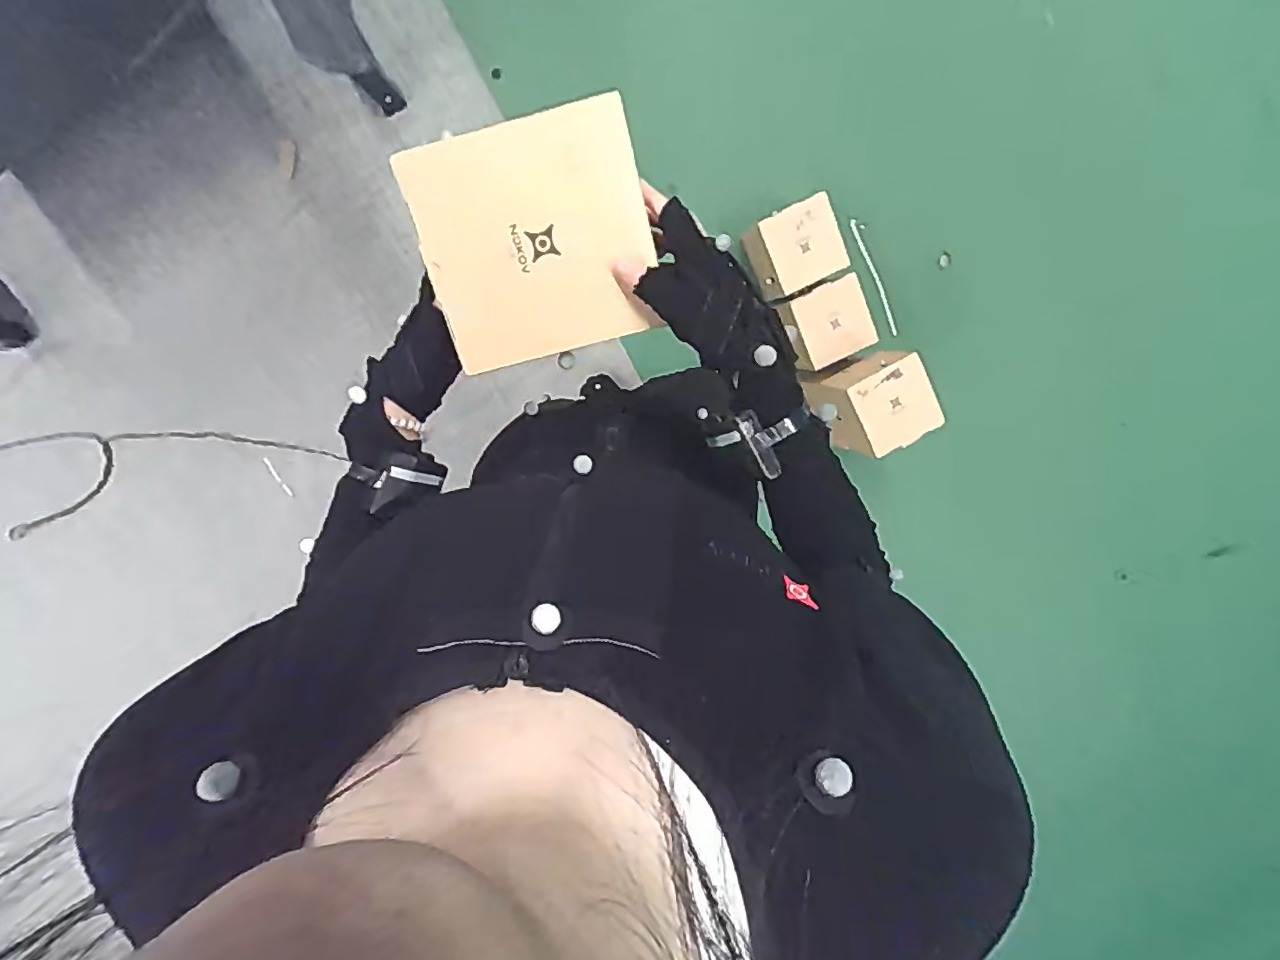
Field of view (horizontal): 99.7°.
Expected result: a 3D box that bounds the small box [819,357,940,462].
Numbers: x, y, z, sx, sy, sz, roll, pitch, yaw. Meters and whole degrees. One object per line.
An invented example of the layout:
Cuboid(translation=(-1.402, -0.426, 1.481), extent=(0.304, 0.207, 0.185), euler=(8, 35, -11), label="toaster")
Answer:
Cuboid(translation=(0.539, -0.169, 1.237), extent=(0.168, 0.176, 0.179), euler=(-28, 104, 4), label="small box")
